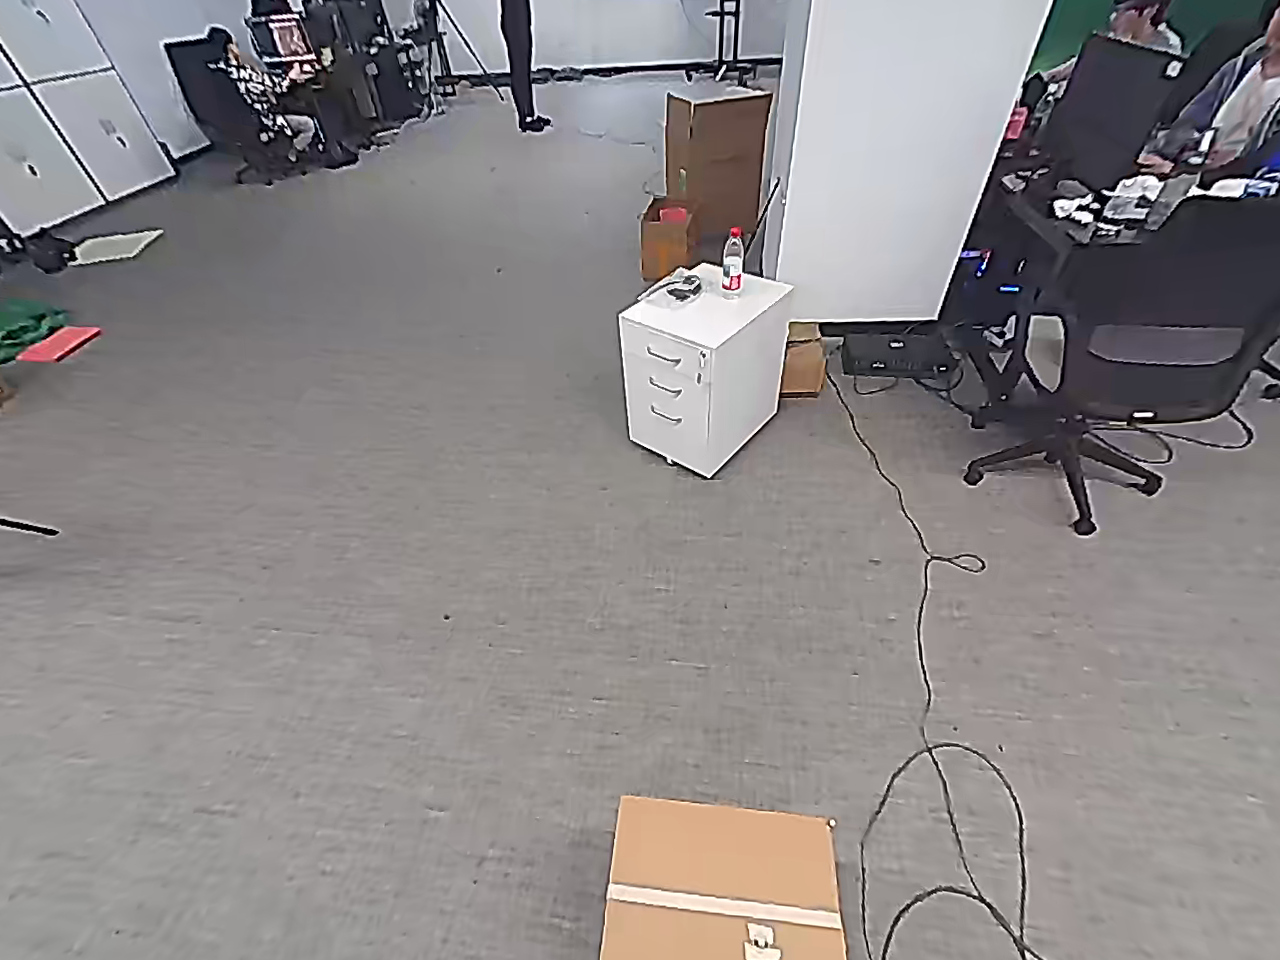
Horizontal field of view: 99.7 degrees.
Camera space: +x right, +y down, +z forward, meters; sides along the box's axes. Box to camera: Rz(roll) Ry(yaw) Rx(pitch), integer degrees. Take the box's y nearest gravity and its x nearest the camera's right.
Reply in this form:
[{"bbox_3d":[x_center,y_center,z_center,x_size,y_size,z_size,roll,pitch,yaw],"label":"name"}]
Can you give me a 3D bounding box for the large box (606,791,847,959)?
[{"bbox_3d":[0.156,0.844,1.056,0.408,0.320,0.320,3,45,7],"label":"large box"}]
